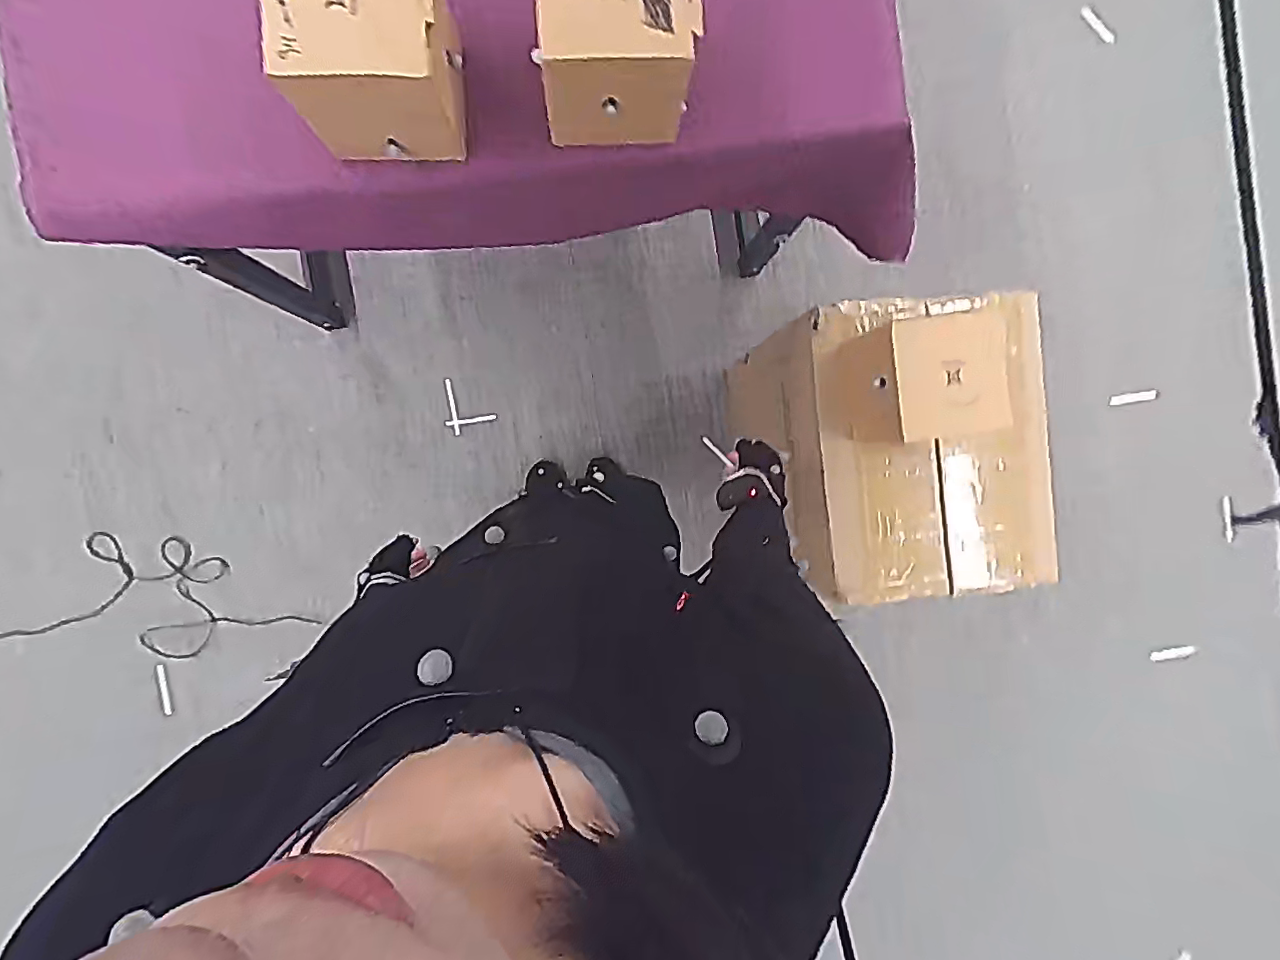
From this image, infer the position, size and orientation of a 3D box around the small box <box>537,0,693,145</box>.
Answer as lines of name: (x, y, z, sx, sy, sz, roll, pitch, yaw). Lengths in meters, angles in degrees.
small box: (-0.036, -0.556, 0.688, 0.179, 0.176, 0.168, -4, 91, -4)

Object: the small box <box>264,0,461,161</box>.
small box: (-0.325, -0.521, 0.667, 0.179, 0.176, 0.168, -3, 91, -5)

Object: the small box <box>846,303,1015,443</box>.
small box: (0.438, -0.156, 0.841, 0.168, 0.176, 0.179, -9, 94, -1)
